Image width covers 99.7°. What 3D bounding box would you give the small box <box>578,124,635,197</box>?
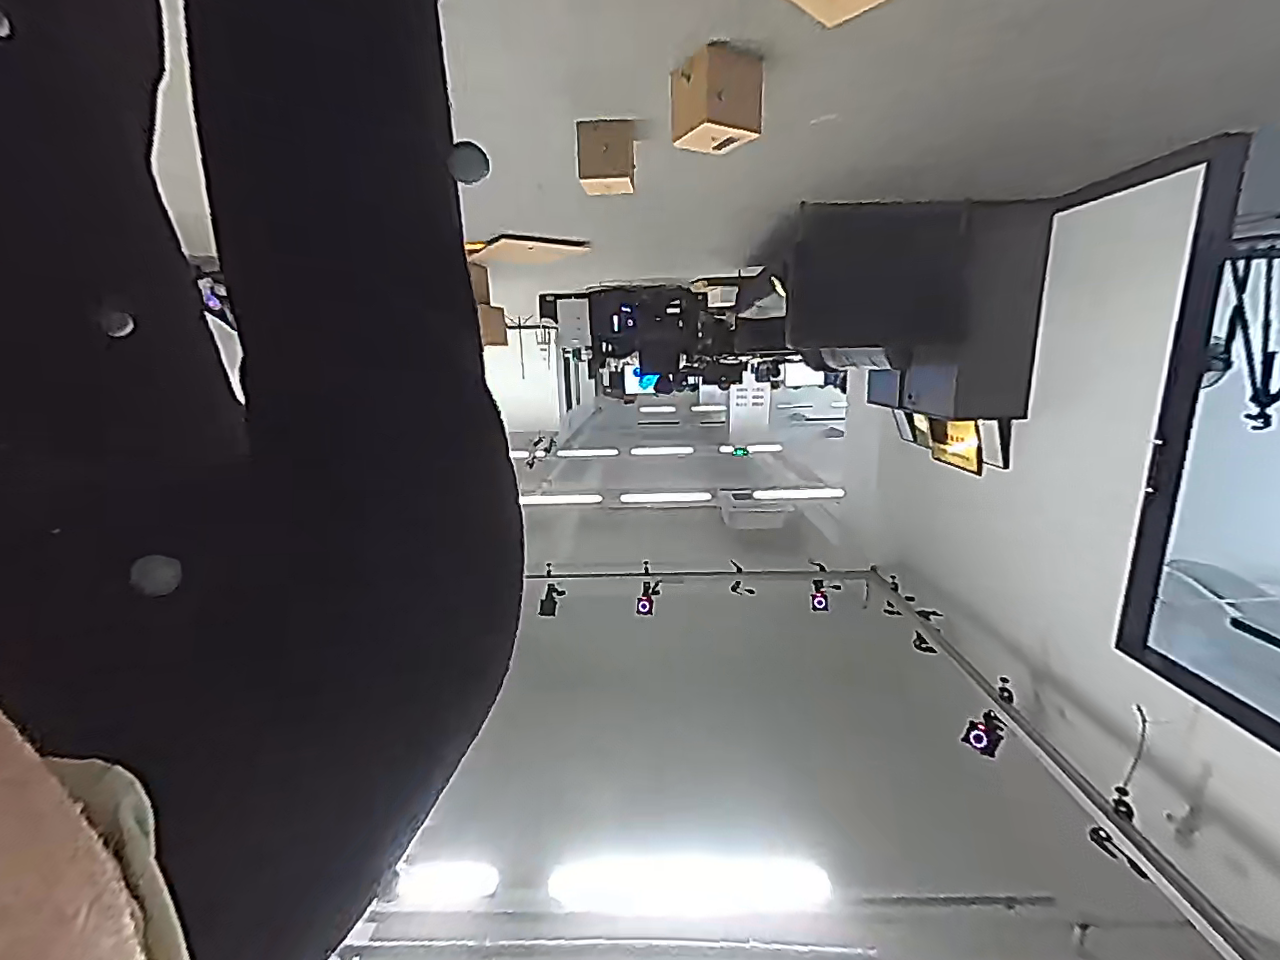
[{"bbox_3d":[-0.108,-1.048,1.772,0.168,0.176,0.179,0,-167,4],"label":"small box"}]
